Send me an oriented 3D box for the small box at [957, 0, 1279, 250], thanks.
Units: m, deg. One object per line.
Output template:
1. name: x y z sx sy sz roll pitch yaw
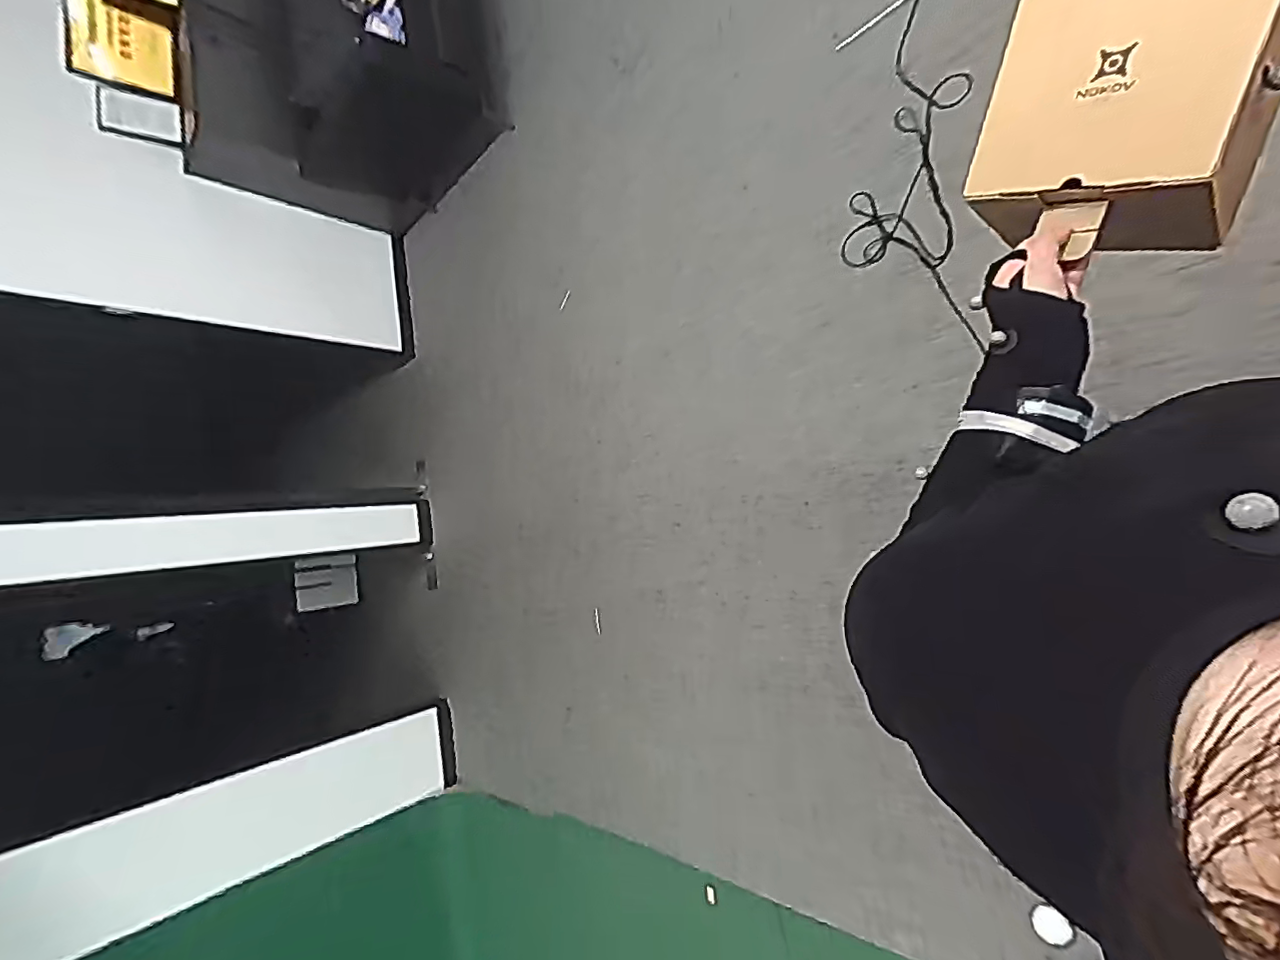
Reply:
1. small box: 0.423 -0.321 0.484 0.168 0.176 0.179 24 109 45
